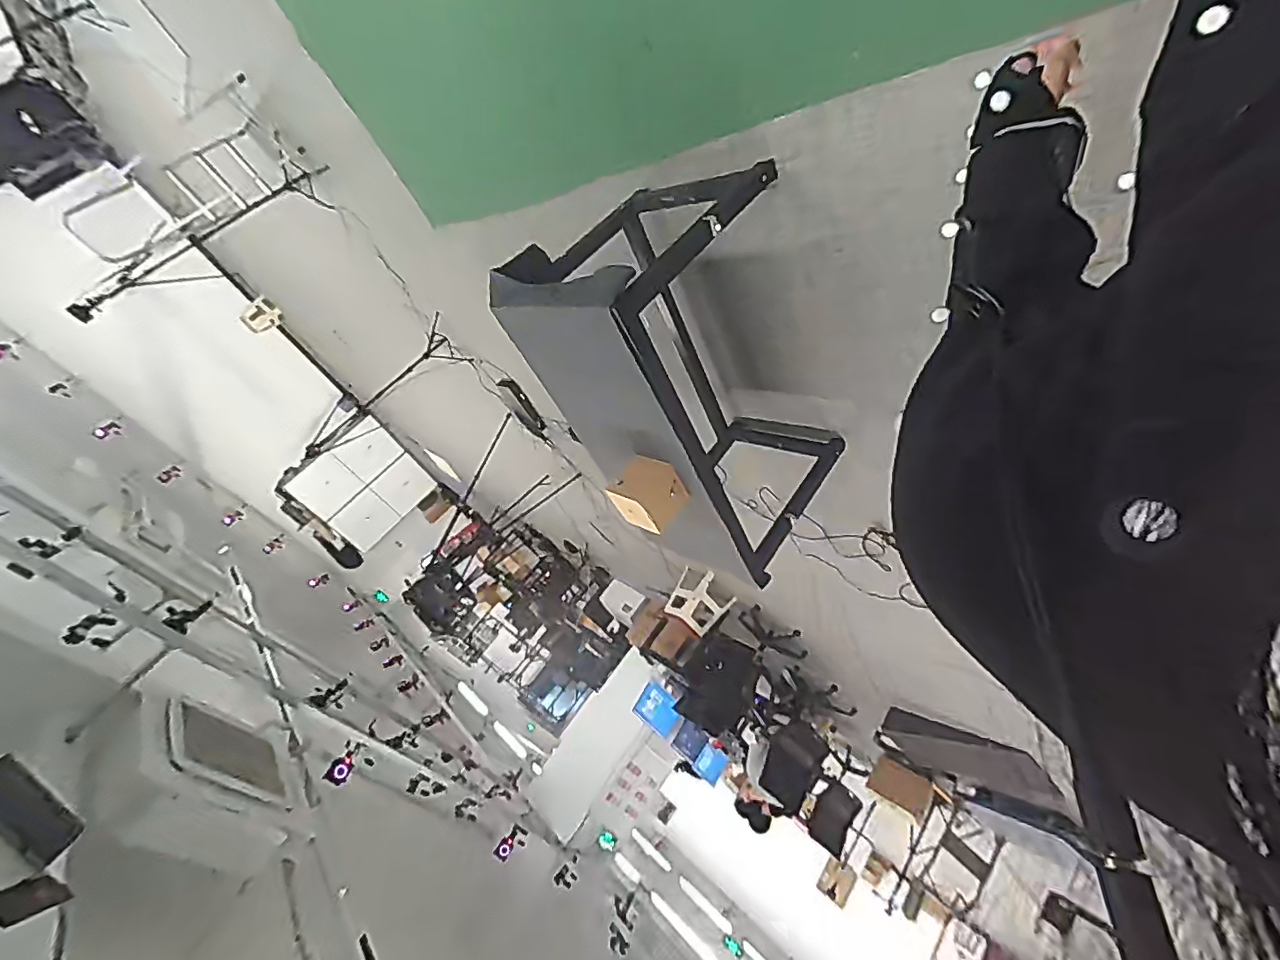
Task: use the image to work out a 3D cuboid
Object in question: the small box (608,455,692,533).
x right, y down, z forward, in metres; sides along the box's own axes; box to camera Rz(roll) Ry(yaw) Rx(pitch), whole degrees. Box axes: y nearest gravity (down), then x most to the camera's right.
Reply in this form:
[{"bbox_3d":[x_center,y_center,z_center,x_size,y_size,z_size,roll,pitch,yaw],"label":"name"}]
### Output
[{"bbox_3d":[0.036,0.039,1.758,0.179,0.176,0.168,18,150,46],"label":"small box"}]
